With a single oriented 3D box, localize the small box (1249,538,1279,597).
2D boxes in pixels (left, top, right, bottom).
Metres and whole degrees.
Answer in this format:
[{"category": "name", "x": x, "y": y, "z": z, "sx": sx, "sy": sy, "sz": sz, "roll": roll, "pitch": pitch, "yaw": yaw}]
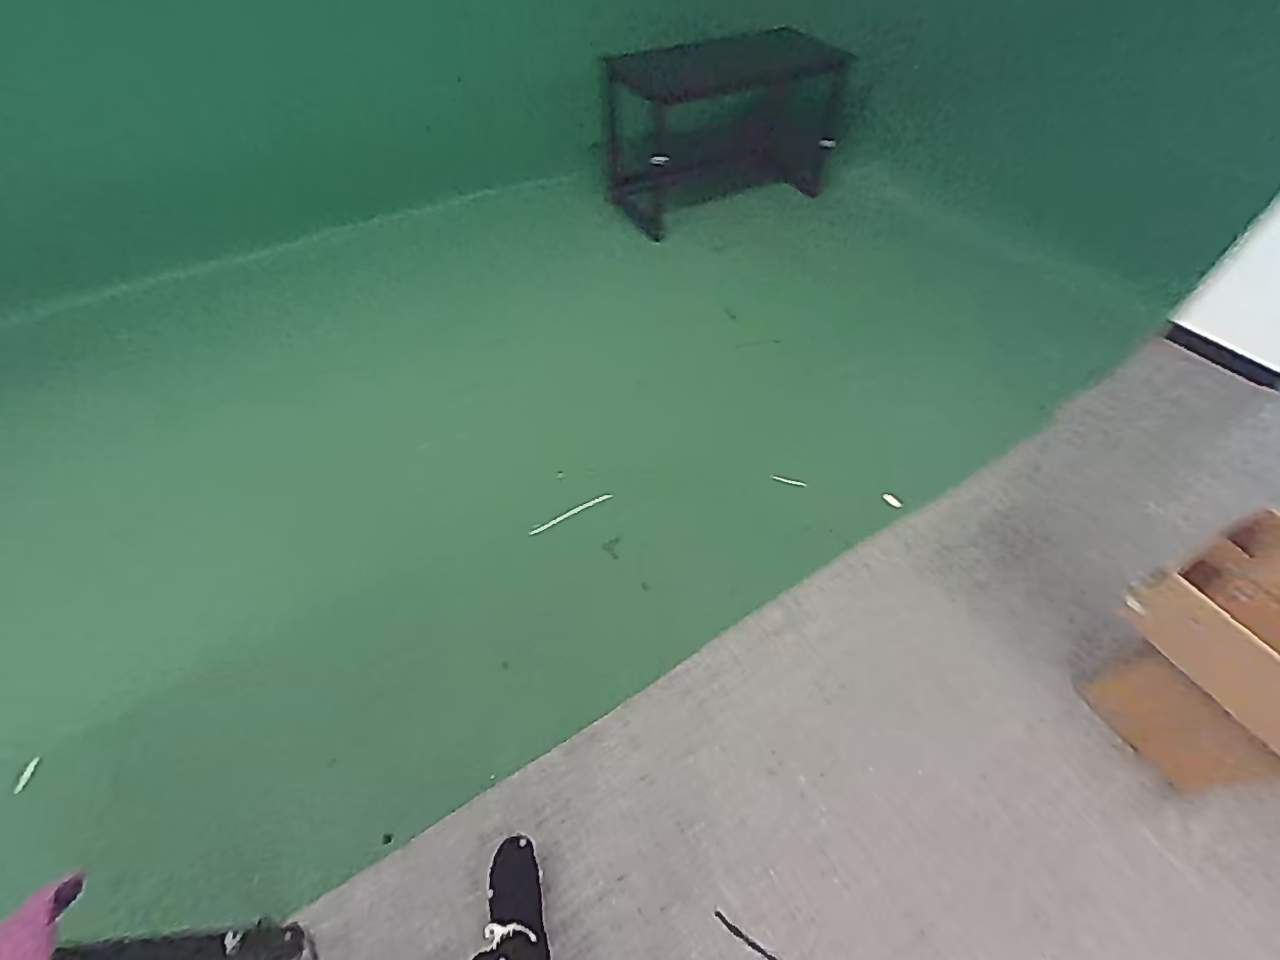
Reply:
[{"category": "small box", "x": 1.398, "y": 0.165, "z": 1.073, "sx": 0.179, "sy": 0.176, "sz": 0.168, "roll": -25, "pitch": 56, "yaw": -18}]
